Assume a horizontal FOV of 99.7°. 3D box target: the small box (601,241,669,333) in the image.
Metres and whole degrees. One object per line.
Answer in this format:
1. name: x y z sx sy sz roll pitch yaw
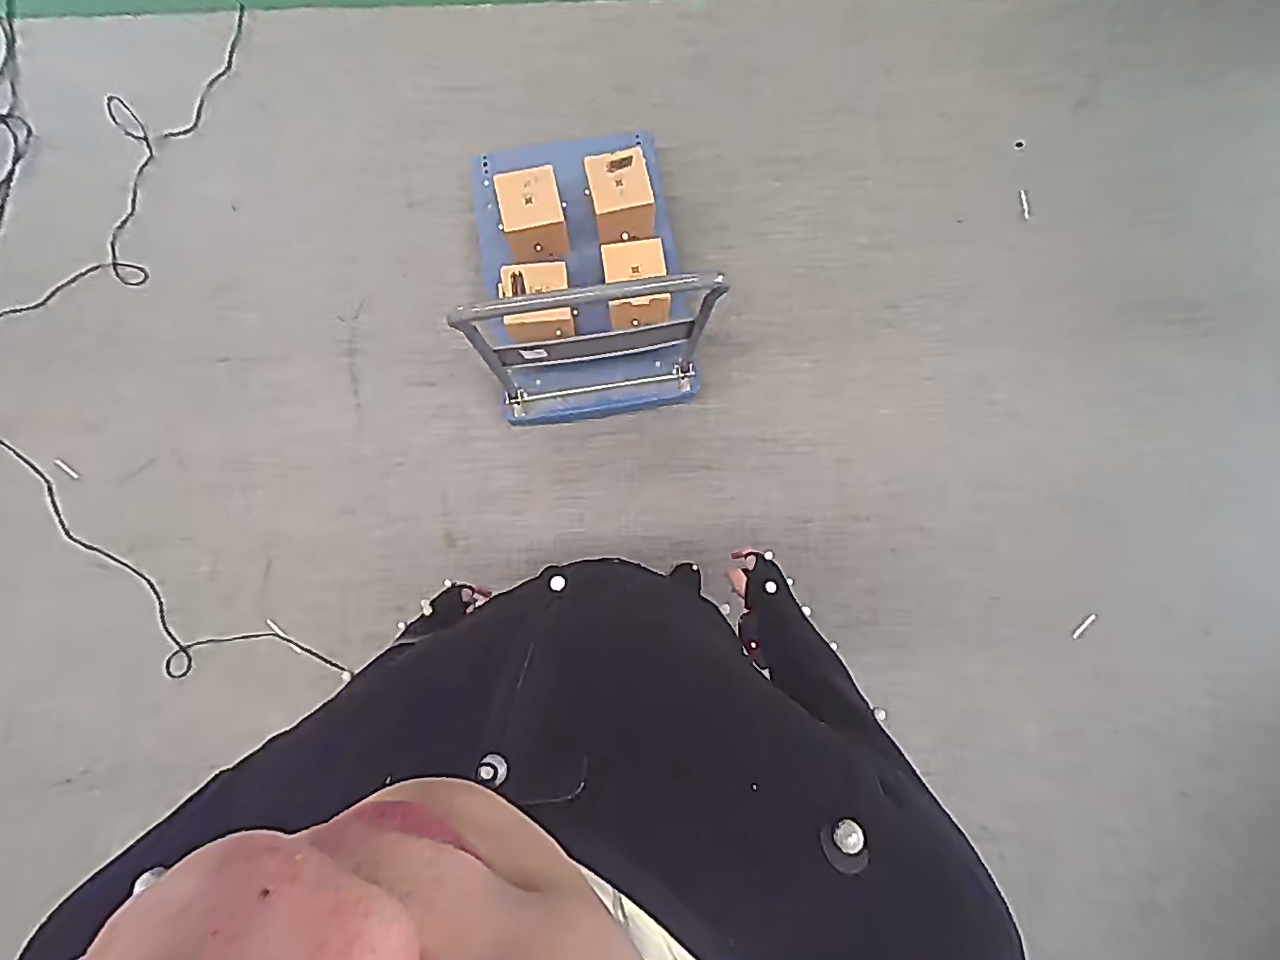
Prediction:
1. small box: -0.018 -0.537 1.517 0.168 0.176 0.179 -8 82 -3

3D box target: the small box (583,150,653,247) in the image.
1. small box: -0.062 -0.801 1.554 0.168 0.176 0.179 -13 83 -2

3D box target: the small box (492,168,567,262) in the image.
1. small box: -0.308 -0.744 1.540 0.168 0.176 0.179 -12 82 -4
